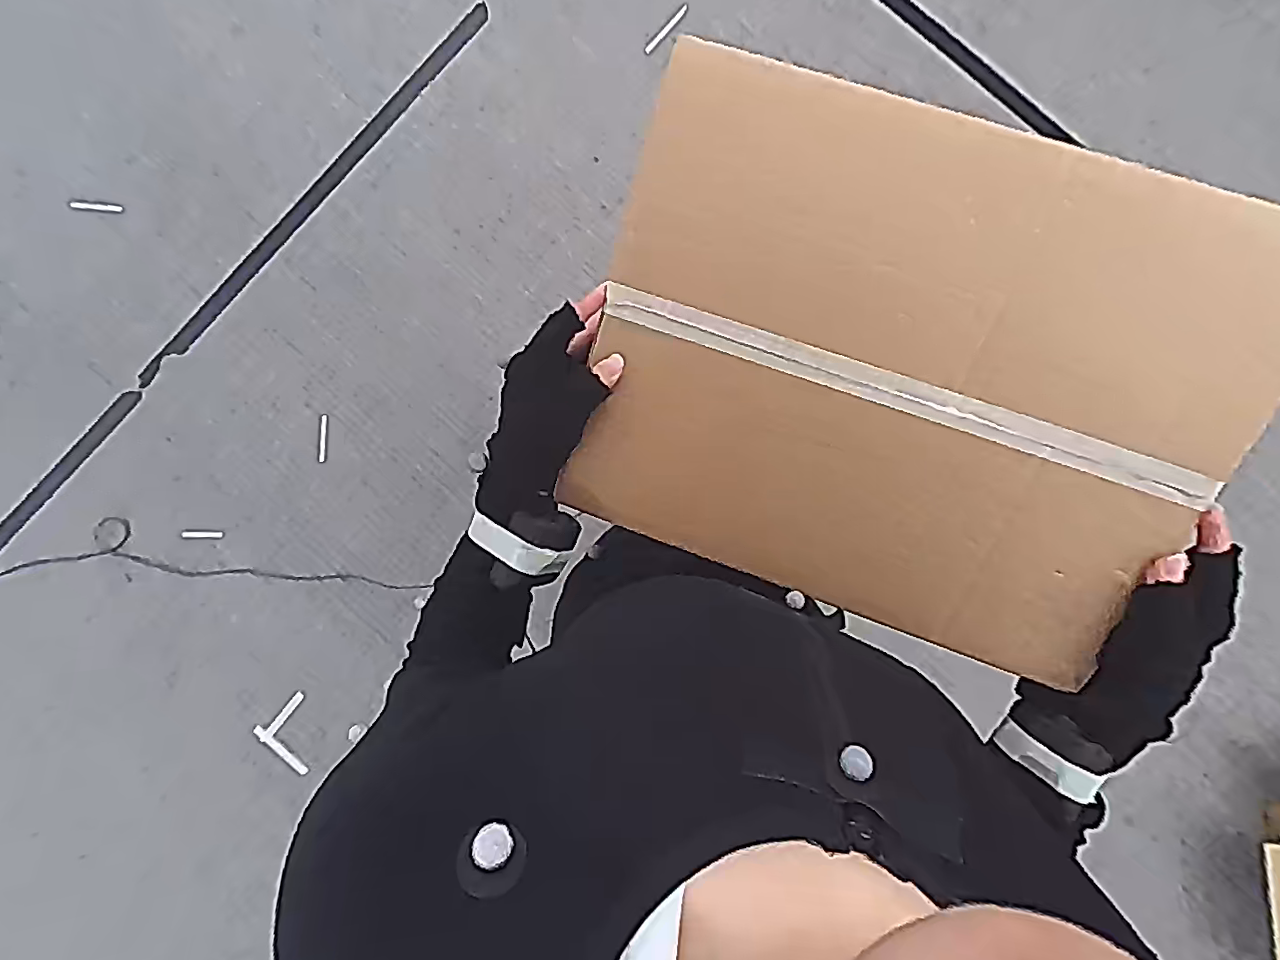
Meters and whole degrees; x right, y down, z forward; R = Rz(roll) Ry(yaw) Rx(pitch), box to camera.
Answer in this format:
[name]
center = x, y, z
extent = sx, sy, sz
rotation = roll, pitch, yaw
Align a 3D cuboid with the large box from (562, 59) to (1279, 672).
[large box]
center = 0.191, -0.099, 0.507
extent = 0.408, 0.320, 0.320
rotation = 21, 109, 5
